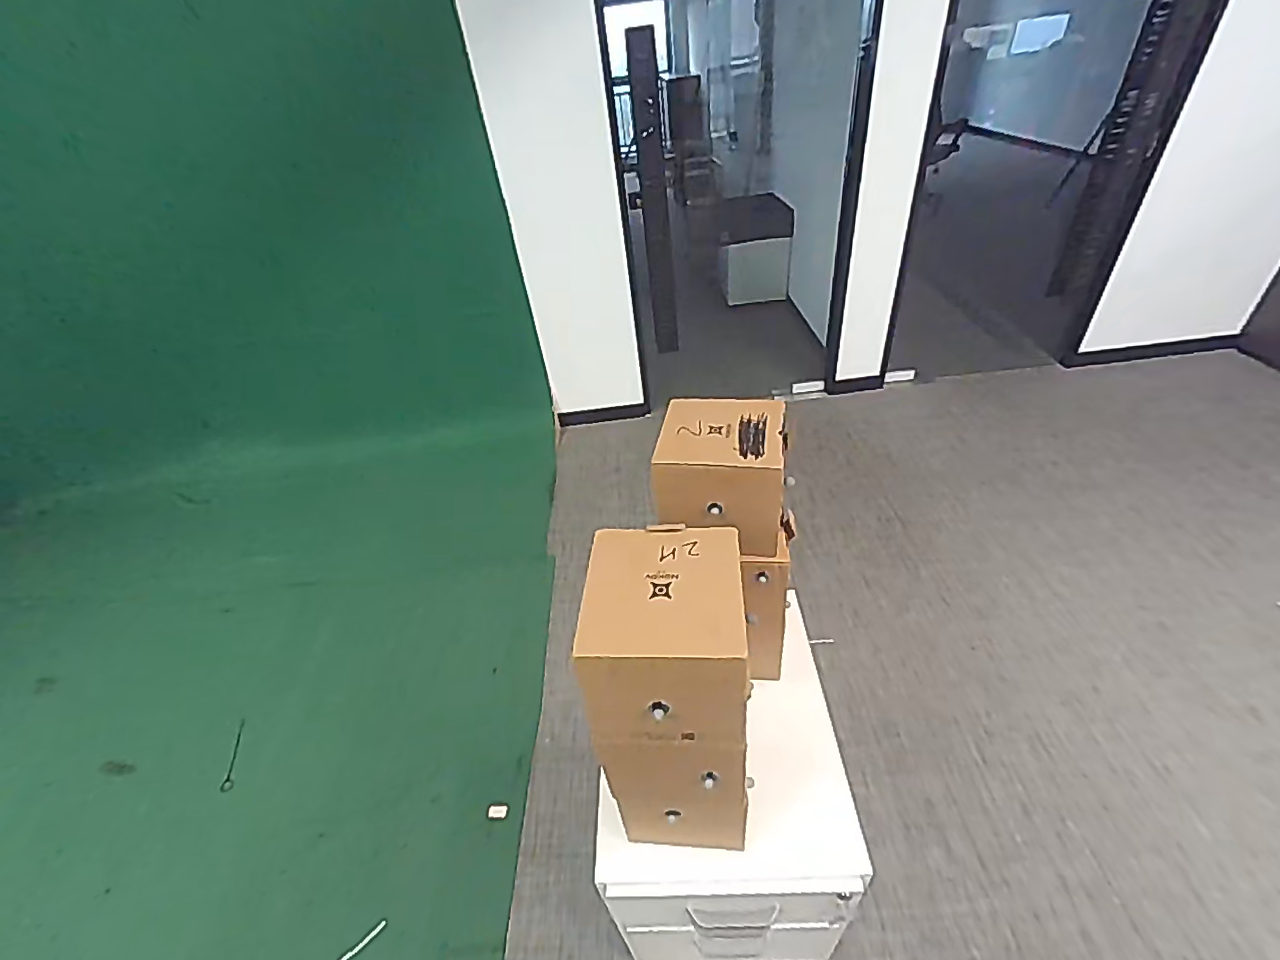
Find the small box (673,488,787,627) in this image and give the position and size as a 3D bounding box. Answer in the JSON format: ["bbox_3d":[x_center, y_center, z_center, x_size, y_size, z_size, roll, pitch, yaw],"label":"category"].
[{"bbox_3d":[0.149,0.130,0.910,0.179,0.176,0.168,0,40,9],"label":"small box"}]

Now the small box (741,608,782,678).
[{"bbox_3d":[0.172,0.253,1.015,0.179,0.176,0.168,0,40,10],"label":"small box"}]

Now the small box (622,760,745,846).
[{"bbox_3d":[0.066,0.427,0.817,0.179,0.176,0.168,0,39,8],"label":"small box"}]

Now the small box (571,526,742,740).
[{"bbox_3d":[0.030,0.173,0.615,0.168,0.176,0.179,-1,37,7],"label":"small box"}]

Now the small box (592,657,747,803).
[{"bbox_3d":[0.047,0.303,0.714,0.179,0.176,0.168,-2,37,9],"label":"small box"}]
